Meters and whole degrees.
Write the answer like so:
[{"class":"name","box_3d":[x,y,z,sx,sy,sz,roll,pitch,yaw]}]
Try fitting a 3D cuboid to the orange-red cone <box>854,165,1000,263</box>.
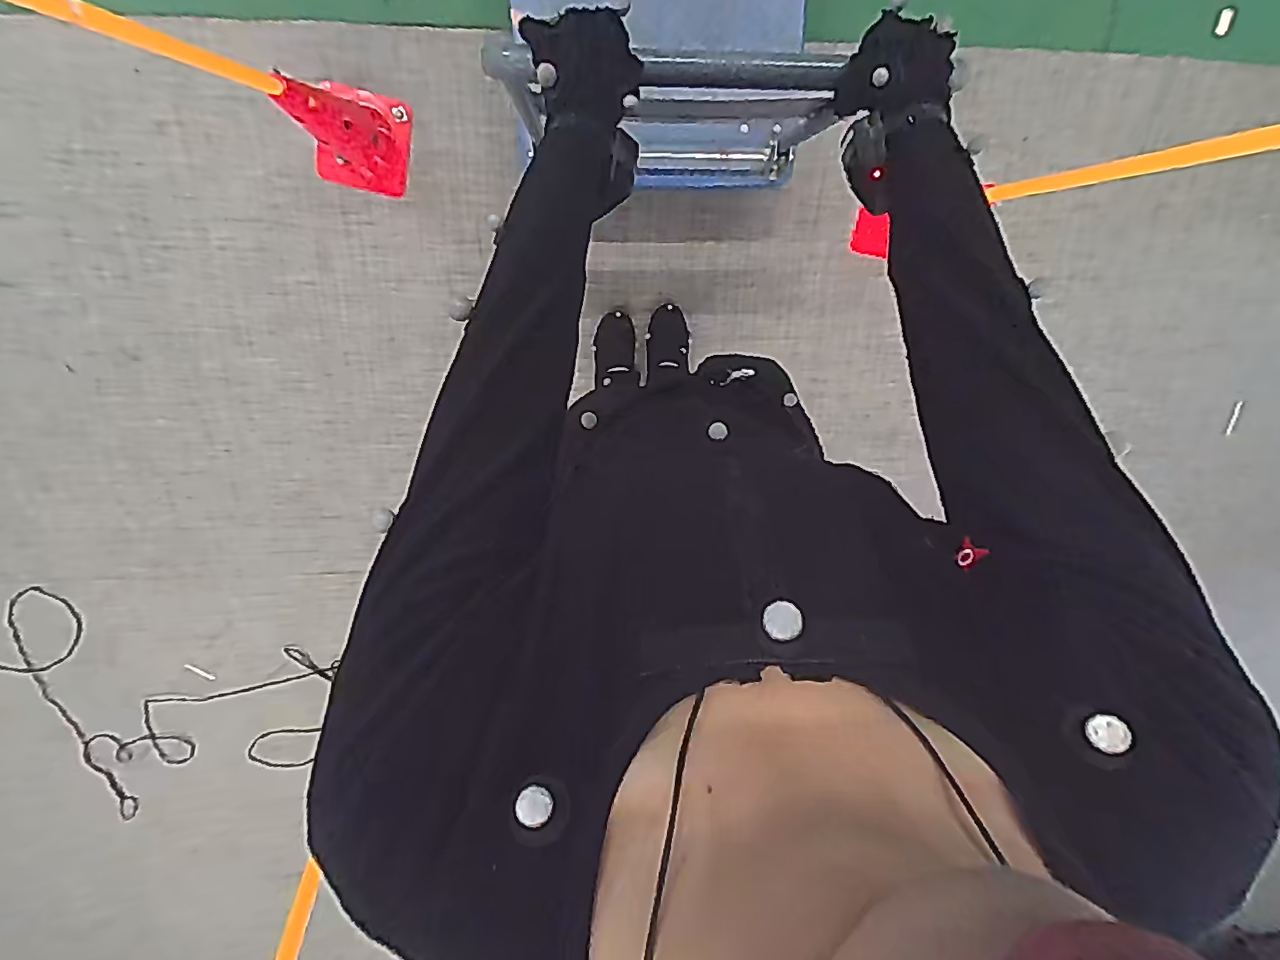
[{"class":"orange-red cone","box_3d":[0.662,-0.607,1.196,0.198,0.360,0.199,10,109,-7]}]
